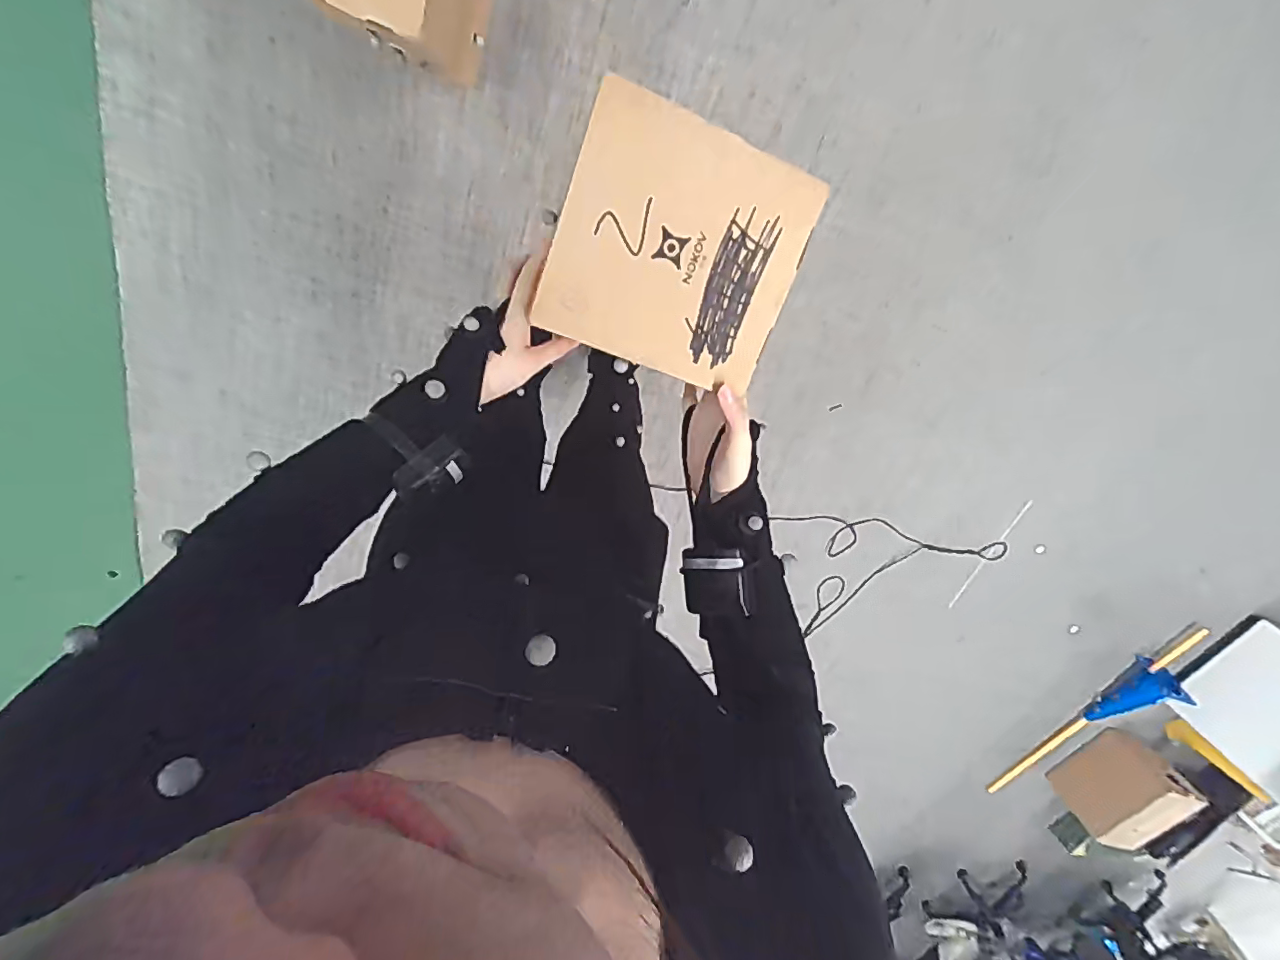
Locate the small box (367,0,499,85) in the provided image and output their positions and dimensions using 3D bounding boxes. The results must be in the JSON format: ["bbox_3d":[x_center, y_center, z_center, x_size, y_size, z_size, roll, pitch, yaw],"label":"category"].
[{"bbox_3d":[-0.347,-0.808,0.918,0.168,0.176,0.179,18,117,-18],"label":"small box"}]

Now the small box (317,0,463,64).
[{"bbox_3d":[-0.305,-0.640,0.640,0.168,0.176,0.179,16,116,-15],"label":"small box"}]

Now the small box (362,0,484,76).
[{"bbox_3d":[-0.325,-0.725,0.780,0.168,0.176,0.179,16,118,-15],"label":"small box"}]
